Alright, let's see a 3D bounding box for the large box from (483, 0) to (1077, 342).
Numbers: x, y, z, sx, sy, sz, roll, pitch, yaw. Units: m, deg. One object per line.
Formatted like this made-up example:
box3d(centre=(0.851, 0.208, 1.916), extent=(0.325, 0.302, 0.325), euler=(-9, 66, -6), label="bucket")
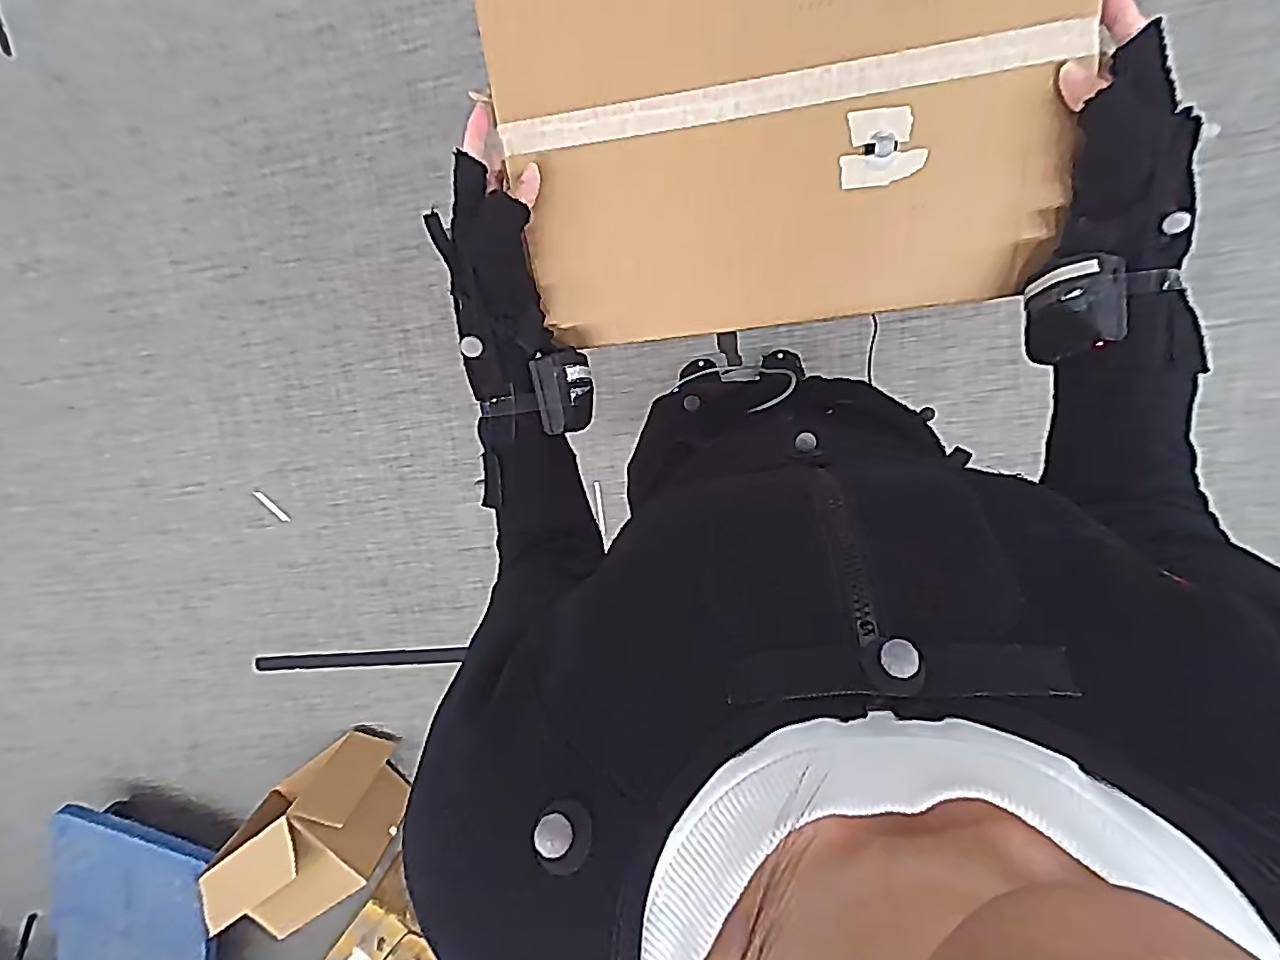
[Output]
box3d(centre=(0.105, -0.333, 0.527), extent=(0.408, 0.320, 0.320), euler=(-6, 111, 6), label="large box")
